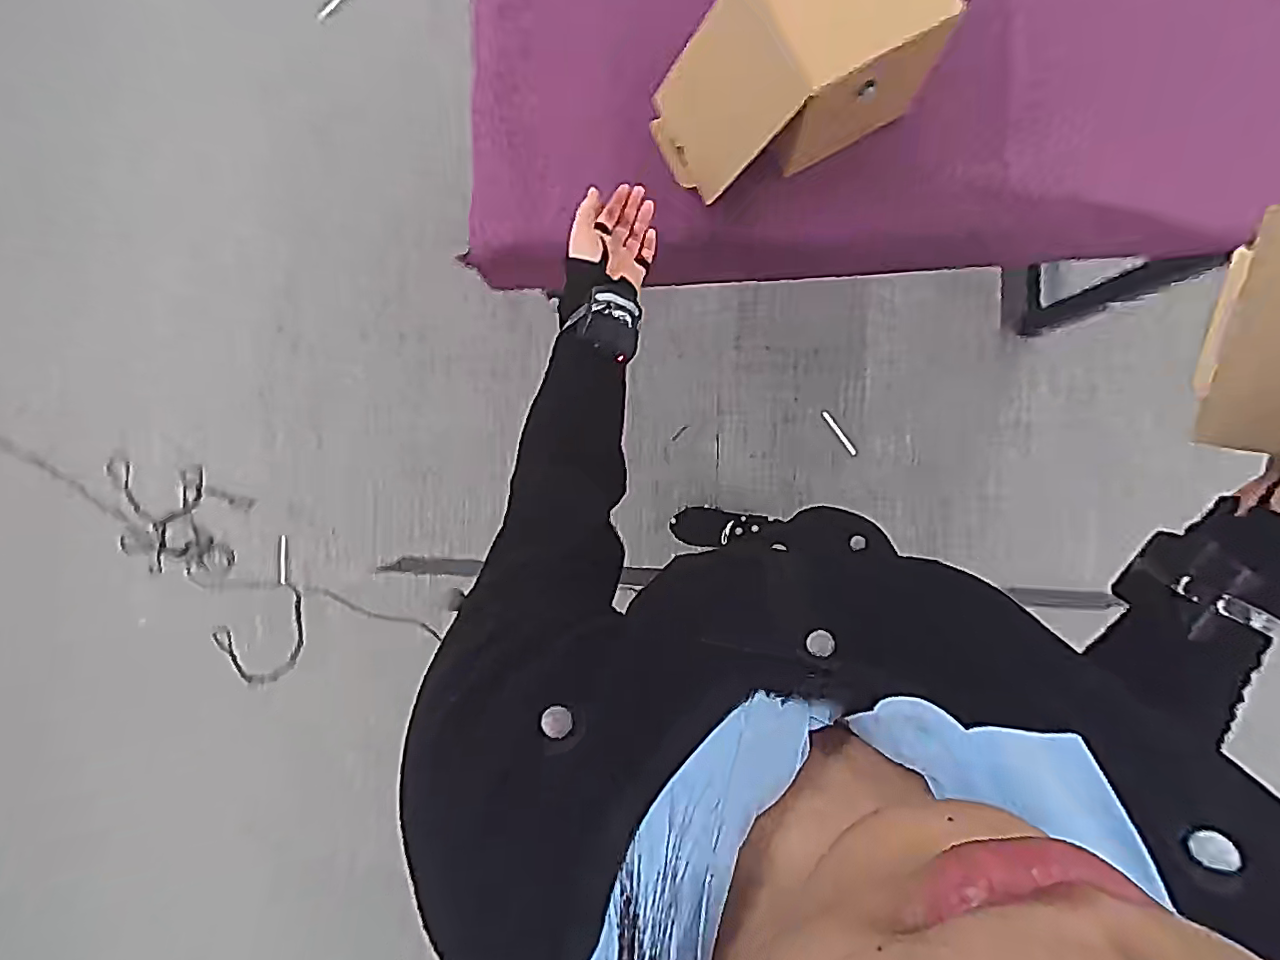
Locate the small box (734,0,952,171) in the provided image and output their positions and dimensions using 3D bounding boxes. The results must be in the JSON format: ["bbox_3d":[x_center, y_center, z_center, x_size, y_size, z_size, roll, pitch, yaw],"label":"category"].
[{"bbox_3d":[0.223,-0.520,0.651,0.179,0.176,0.168,-27,88,5],"label":"small box"}]
